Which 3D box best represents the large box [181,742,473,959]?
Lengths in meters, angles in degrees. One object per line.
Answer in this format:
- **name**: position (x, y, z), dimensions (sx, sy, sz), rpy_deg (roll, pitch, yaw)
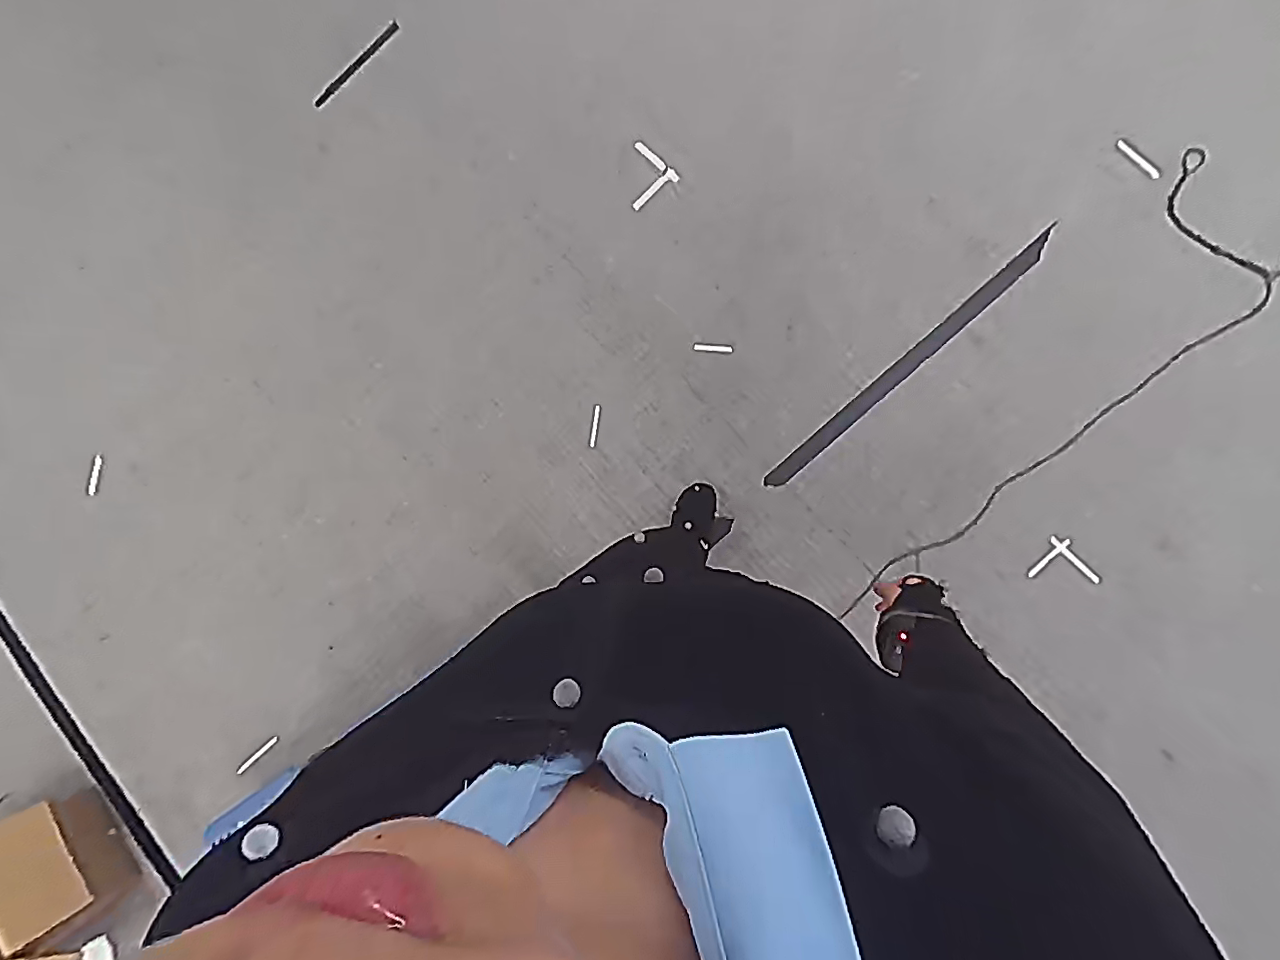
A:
- **large box**: position (-0.632, 0.865, 1.151), dimensions (0.320, 0.320, 0.408), rpy_deg (-33, 83, 3)
